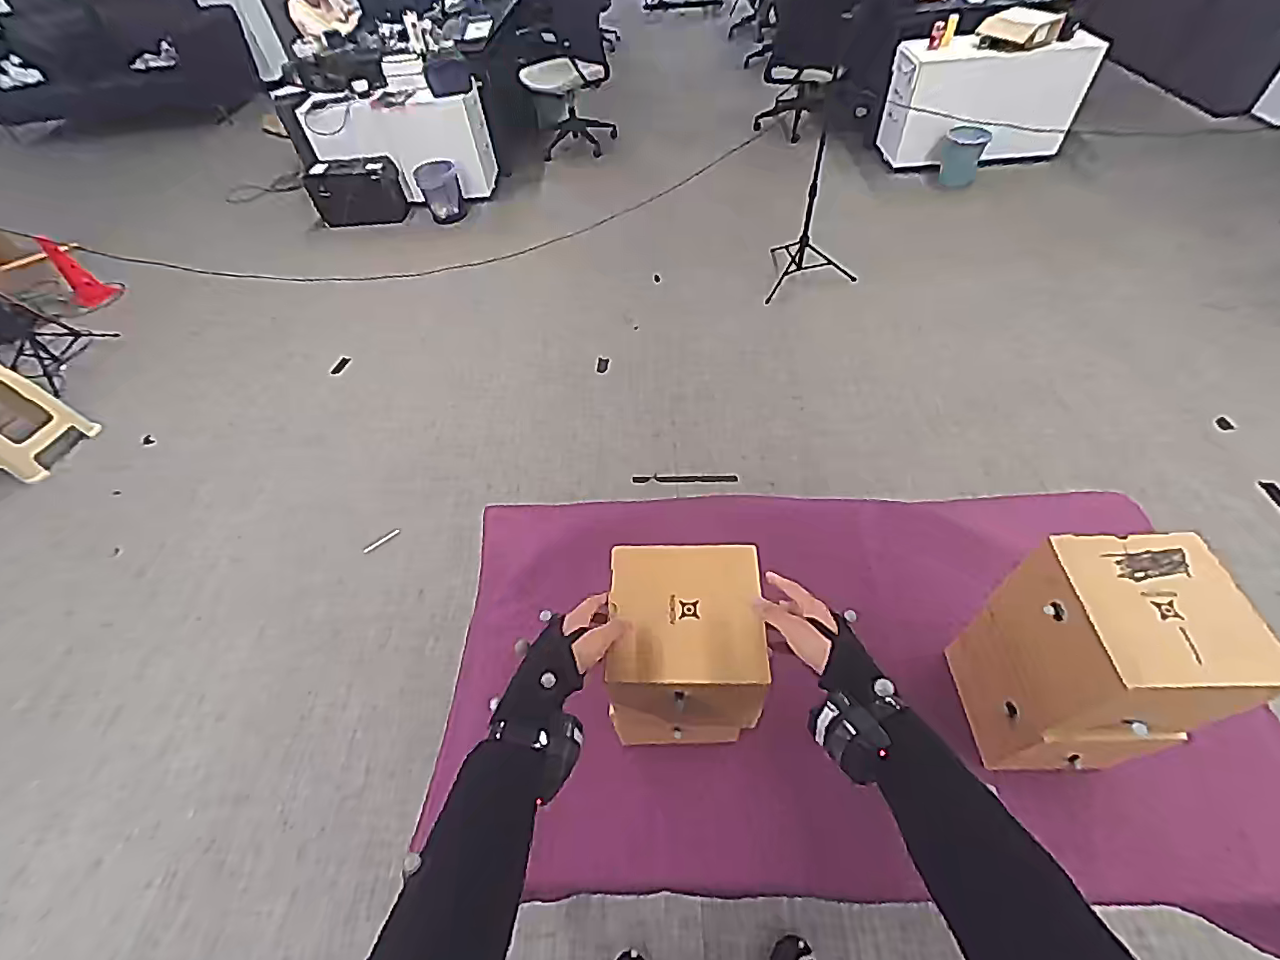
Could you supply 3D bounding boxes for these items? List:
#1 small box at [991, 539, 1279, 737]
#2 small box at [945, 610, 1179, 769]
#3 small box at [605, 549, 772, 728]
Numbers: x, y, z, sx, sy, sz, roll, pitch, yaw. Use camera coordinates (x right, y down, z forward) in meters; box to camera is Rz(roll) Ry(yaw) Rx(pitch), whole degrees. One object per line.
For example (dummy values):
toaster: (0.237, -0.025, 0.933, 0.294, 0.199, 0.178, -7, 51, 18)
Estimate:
small box: (0.554, 0.186, 0.634, 0.168, 0.176, 0.179, -2, 52, 4)
small box: (0.564, 0.296, 0.756, 0.168, 0.176, 0.179, -2, 51, 3)
small box: (0.058, 0.199, 0.670, 0.179, 0.176, 0.168, -1, 52, 5)
